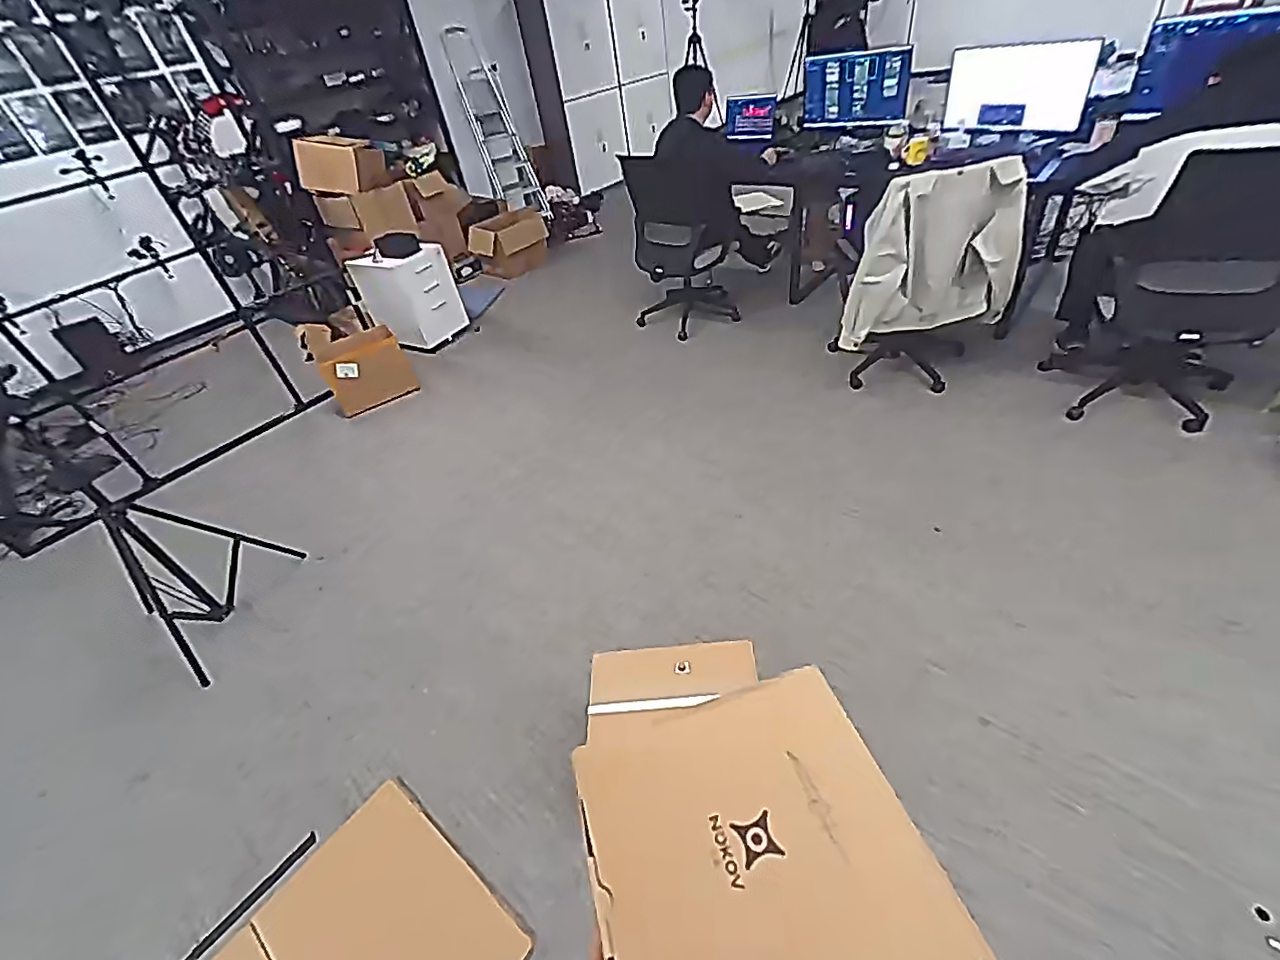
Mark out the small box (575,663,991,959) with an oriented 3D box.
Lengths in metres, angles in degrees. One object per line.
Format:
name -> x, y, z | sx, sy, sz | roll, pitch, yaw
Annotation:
small box -> 0.071, 0.256, 0.351 | 0.179, 0.176, 0.168 | -16, 43, -9
